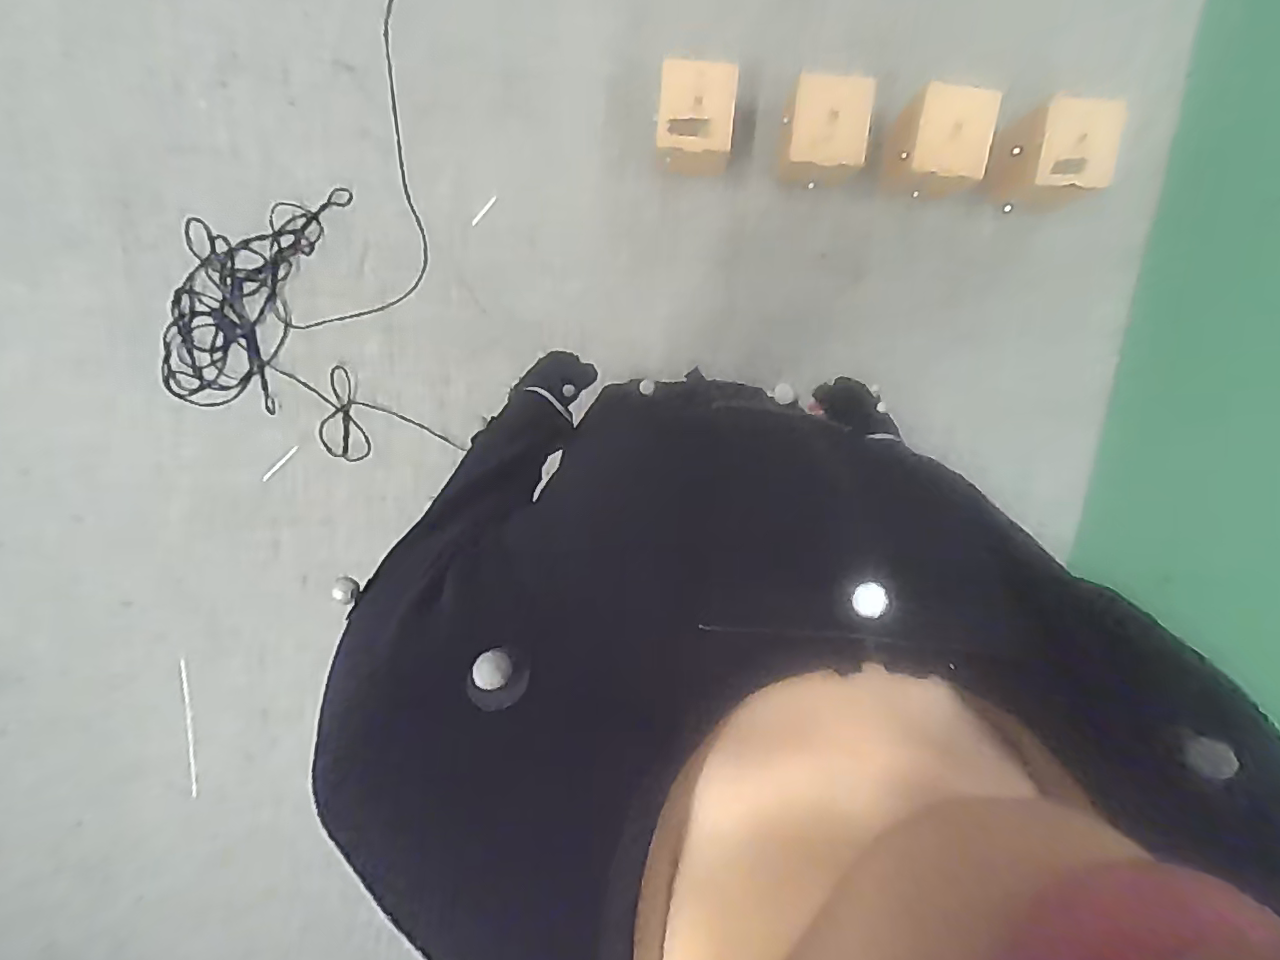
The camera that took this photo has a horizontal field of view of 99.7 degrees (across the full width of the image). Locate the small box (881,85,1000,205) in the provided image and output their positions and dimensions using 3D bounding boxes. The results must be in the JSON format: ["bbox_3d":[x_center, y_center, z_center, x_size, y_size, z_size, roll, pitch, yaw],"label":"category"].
[{"bbox_3d":[0.681,-0.763,1.248,0.168,0.176,0.179,7,101,-1],"label":"small box"}]

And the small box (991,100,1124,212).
[{"bbox_3d":[0.949,-0.736,1.247,0.168,0.176,0.179,4,100,0],"label":"small box"}]

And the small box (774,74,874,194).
[{"bbox_3d":[0.414,-0.788,1.245,0.168,0.176,0.179,5,101,1],"label":"small box"}]
